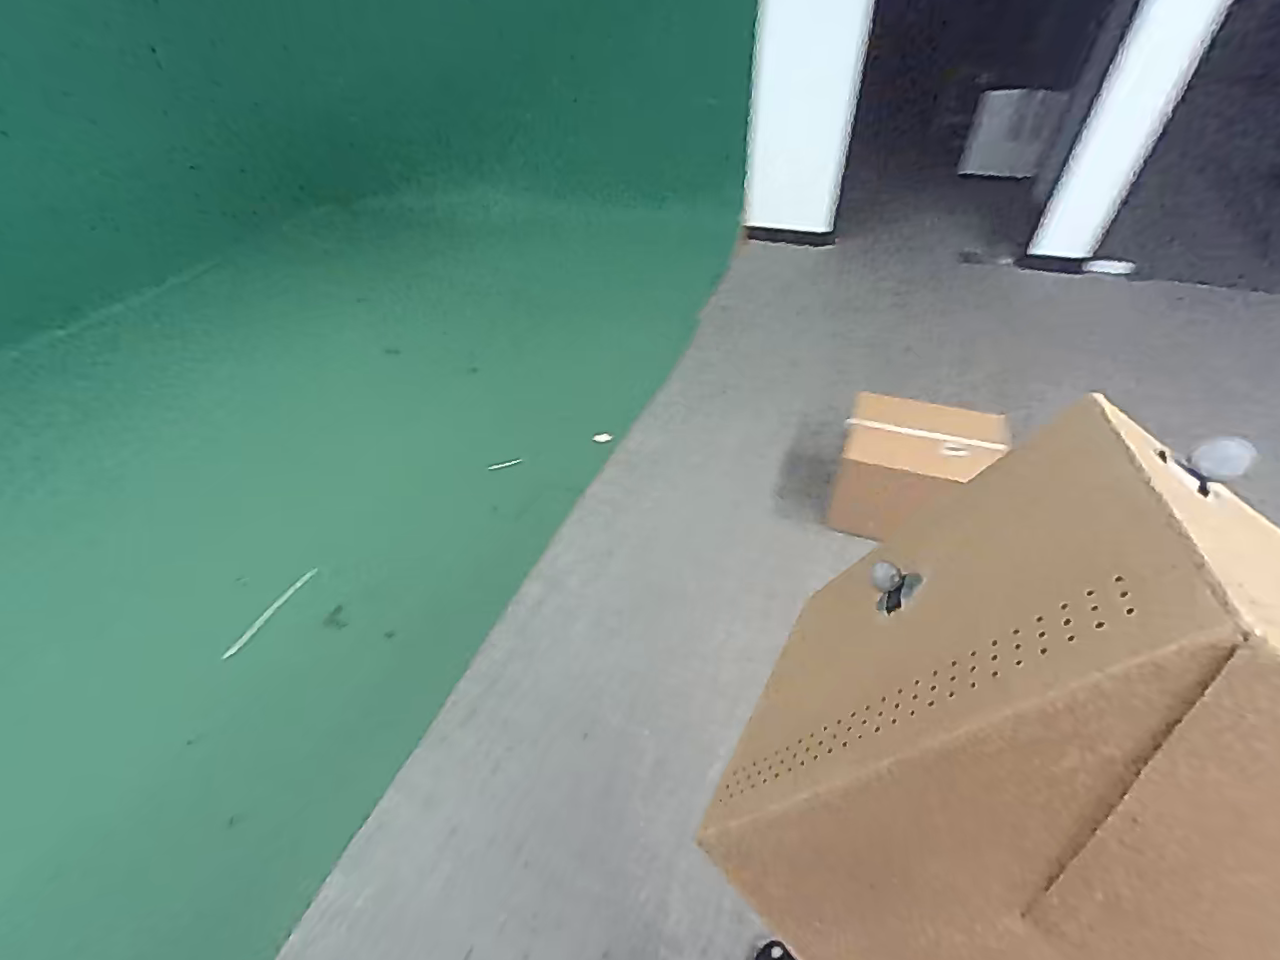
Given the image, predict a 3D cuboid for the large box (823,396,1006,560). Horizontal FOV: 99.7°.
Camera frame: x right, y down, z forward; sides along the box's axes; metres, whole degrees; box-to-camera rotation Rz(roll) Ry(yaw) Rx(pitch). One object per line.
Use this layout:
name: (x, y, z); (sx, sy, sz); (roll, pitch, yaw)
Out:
large box: (0.795, -0.009, 1.616); (0.408, 0.320, 0.320); (14, 49, 16)
